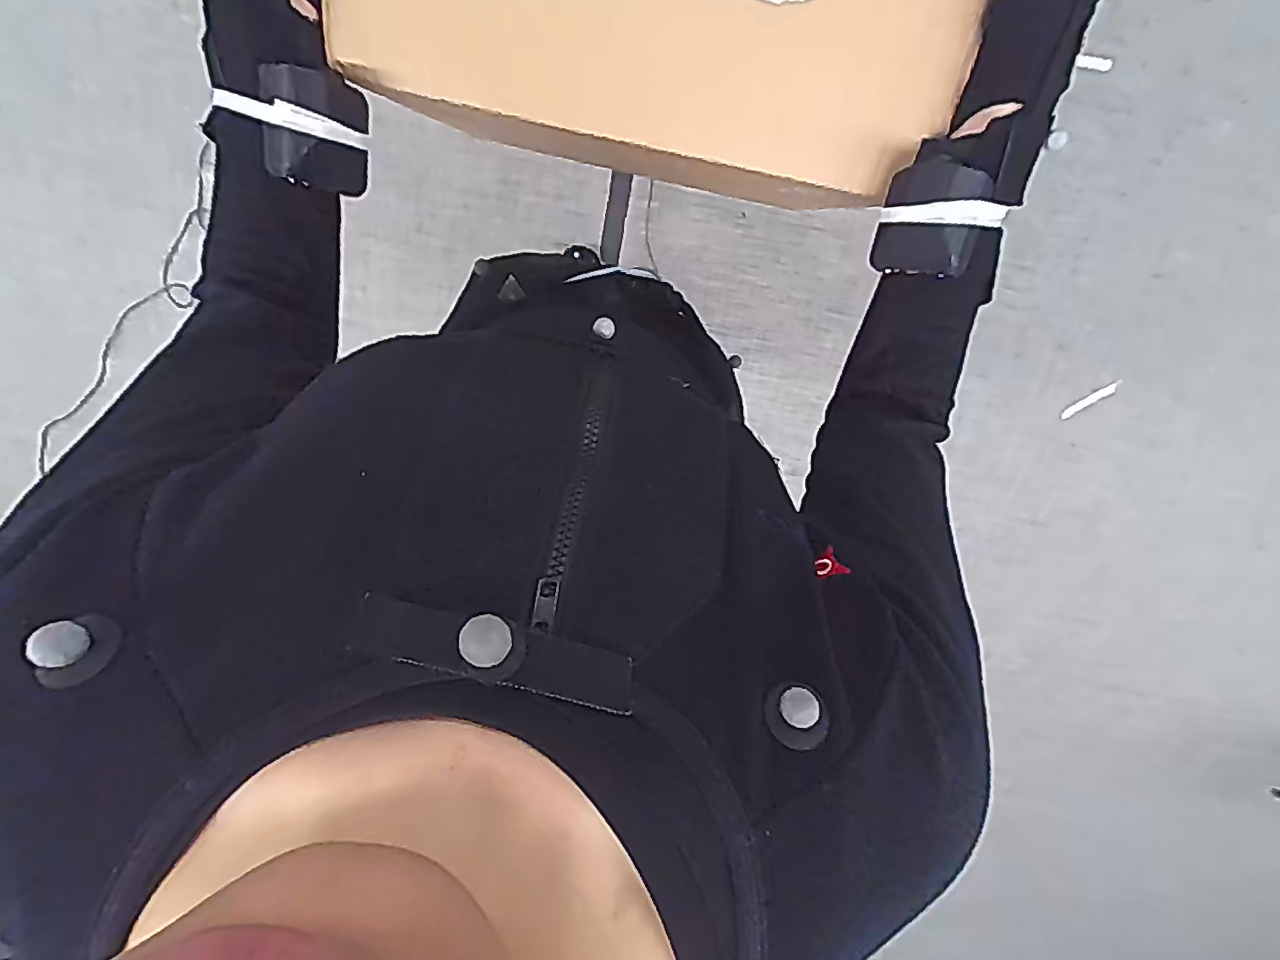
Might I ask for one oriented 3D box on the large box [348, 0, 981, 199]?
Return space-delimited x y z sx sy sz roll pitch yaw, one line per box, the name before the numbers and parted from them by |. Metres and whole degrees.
large box | 0.027 -0.438 0.441 0.408 0.320 0.320 9 117 -6
